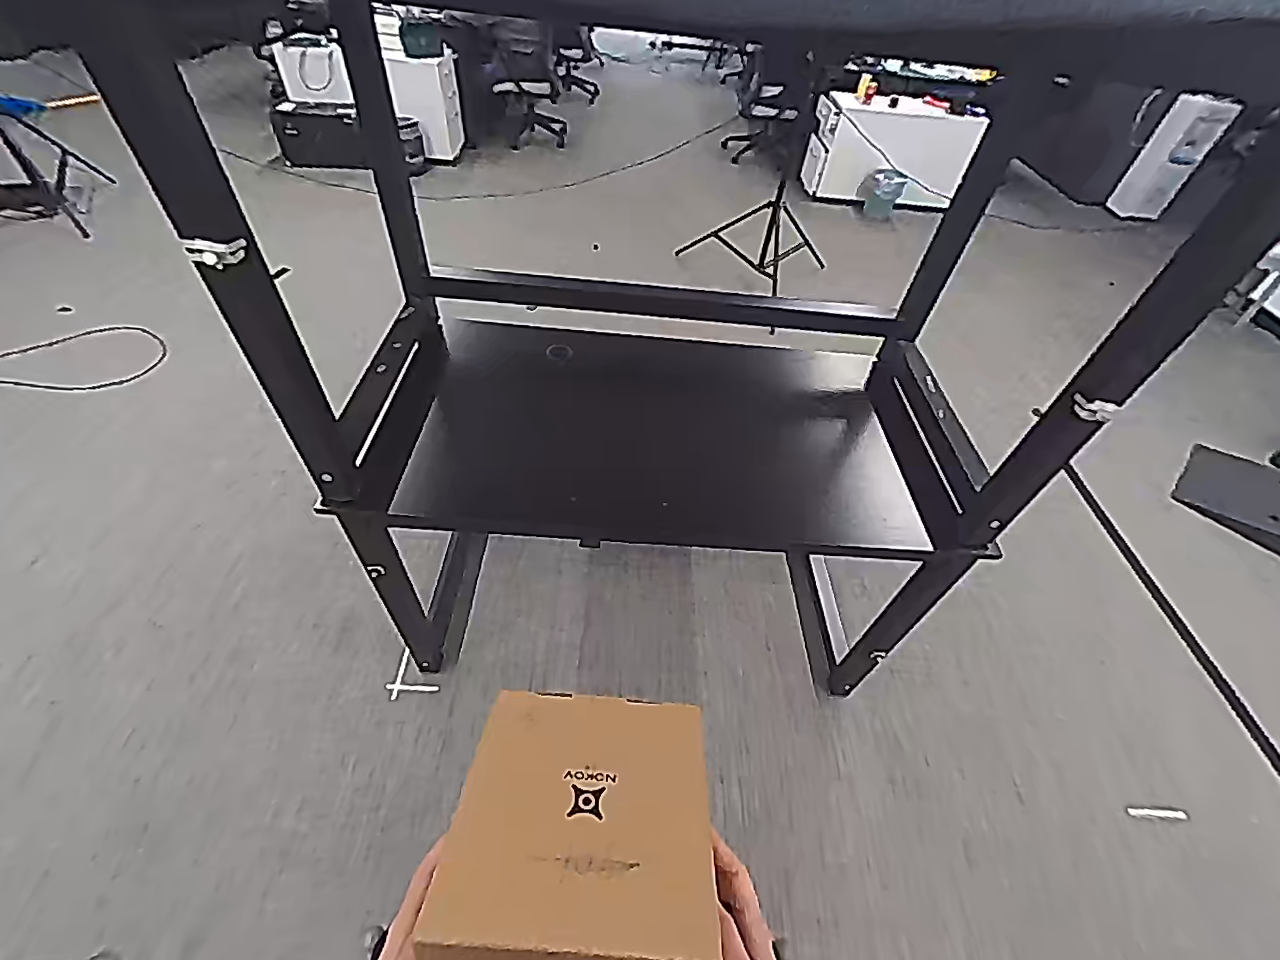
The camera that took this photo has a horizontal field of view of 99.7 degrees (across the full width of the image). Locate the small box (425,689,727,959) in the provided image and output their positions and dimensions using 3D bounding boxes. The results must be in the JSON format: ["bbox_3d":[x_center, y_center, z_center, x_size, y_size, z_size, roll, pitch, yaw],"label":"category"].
[{"bbox_3d":[-0.038,0.284,0.391,0.168,0.176,0.179,4,24,0],"label":"small box"}]
